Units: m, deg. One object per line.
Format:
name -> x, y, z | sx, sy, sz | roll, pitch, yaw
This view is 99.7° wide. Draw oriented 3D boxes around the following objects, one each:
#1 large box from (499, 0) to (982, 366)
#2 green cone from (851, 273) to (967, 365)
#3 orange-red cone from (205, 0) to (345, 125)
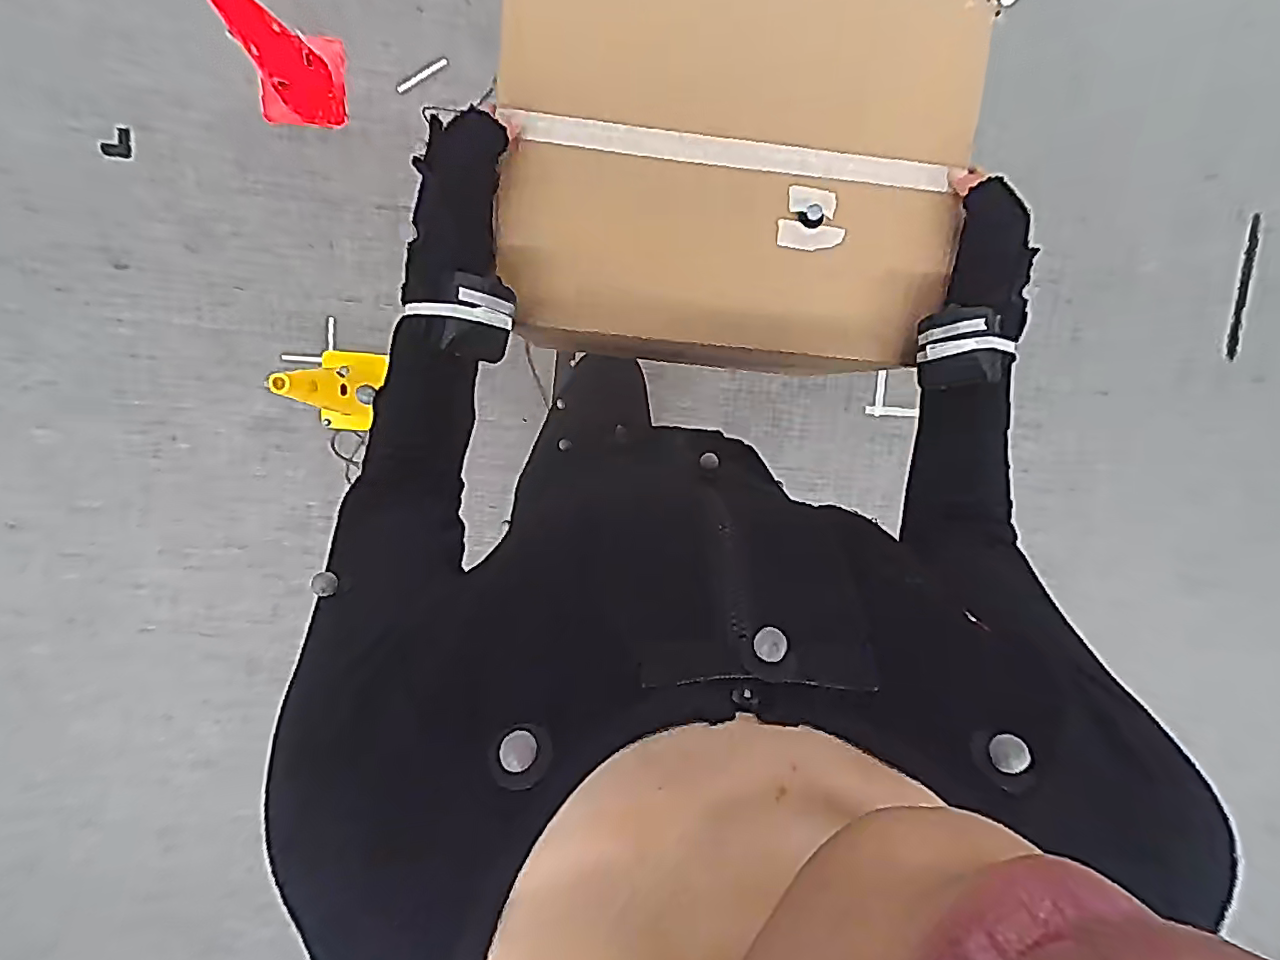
large box -> 0.071, -0.306, 0.608 | 0.408, 0.320, 0.320 | 4, 99, -5
green cone -> 0.628, -0.416, 1.275 | 0.202, 0.368, 0.200 | -32, 98, 0
orange-red cone -> -0.808, -0.946, 1.139 | 0.198, 0.360, 0.199 | 3, 98, -2
